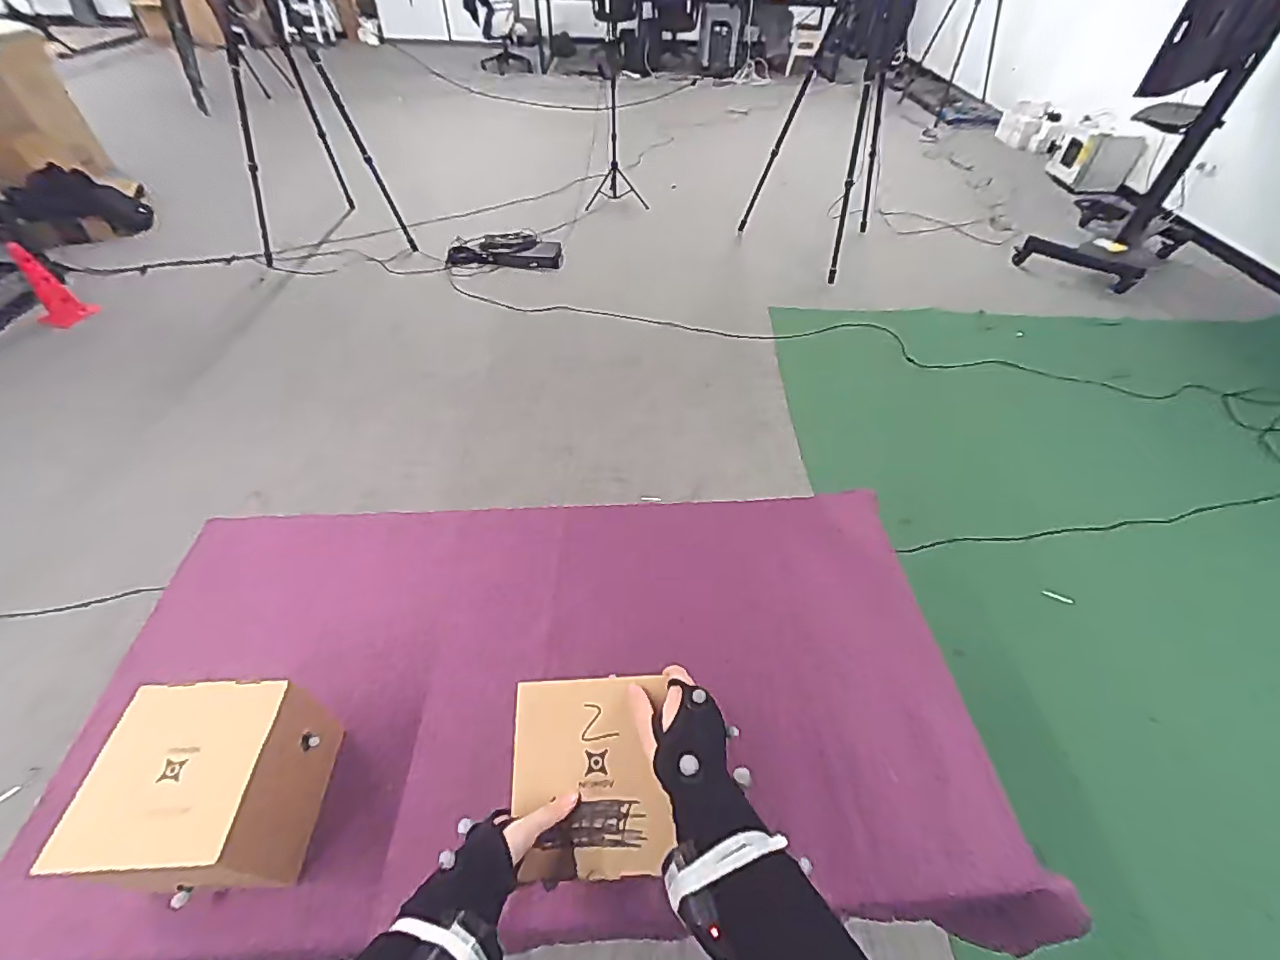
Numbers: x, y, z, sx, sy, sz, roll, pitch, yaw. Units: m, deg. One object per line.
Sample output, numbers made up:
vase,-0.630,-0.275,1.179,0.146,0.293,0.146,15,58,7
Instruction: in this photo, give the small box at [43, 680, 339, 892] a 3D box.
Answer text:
small box,-0.474,0.347,0.614,0.168,0.176,0.179,-1,48,-2
